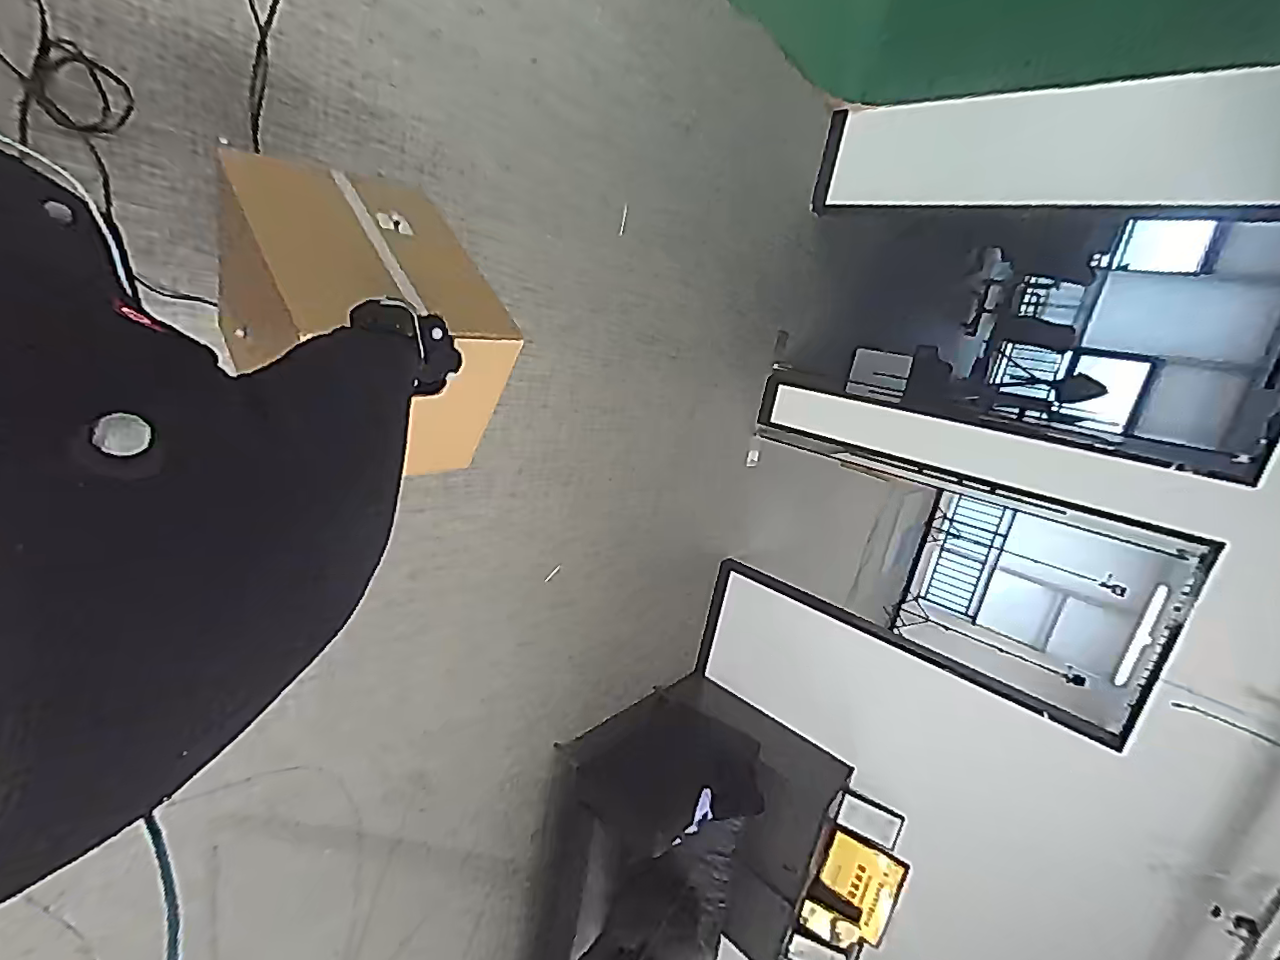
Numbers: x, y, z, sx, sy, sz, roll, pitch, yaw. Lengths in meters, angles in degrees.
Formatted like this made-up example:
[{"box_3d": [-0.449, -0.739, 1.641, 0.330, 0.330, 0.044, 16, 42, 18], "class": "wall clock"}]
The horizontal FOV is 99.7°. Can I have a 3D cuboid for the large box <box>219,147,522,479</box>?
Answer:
[{"box_3d": [-0.465, -0.265, 0.911, 0.320, 0.408, 0.320, -13, 150, -44], "class": "large box"}]
